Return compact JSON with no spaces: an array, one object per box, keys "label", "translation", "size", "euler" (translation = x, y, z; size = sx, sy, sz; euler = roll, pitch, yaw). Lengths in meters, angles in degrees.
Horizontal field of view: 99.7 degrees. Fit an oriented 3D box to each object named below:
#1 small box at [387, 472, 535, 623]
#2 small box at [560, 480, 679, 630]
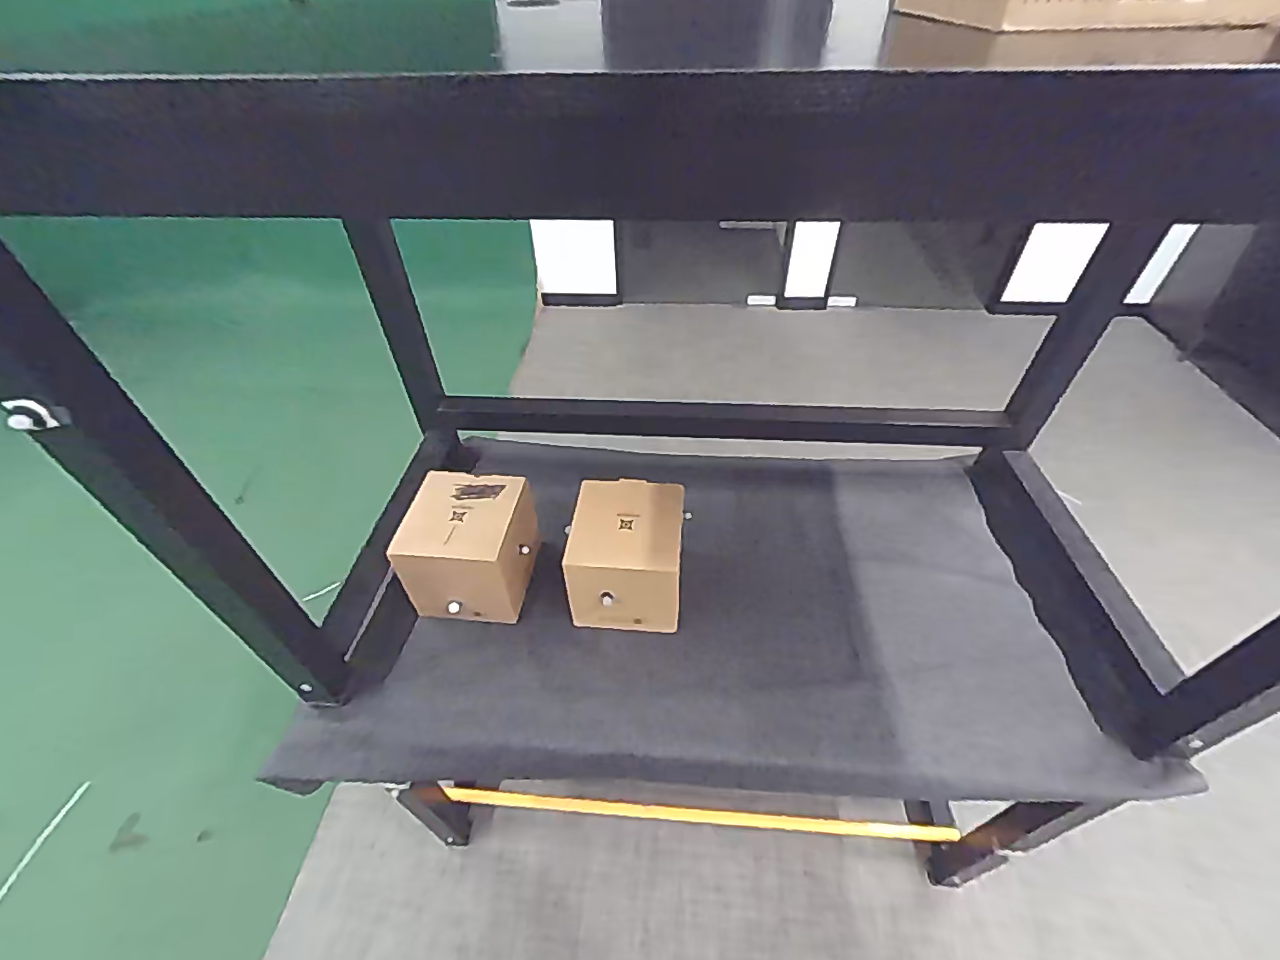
[{"label":"small box","translation":[-0.275,0.109,0.884],"size":[0.168,0.176,0.179],"euler":[3,45,4]},{"label":"small box","translation":[-0.023,0.122,0.869],"size":[0.168,0.176,0.179],"euler":[3,44,4]}]
